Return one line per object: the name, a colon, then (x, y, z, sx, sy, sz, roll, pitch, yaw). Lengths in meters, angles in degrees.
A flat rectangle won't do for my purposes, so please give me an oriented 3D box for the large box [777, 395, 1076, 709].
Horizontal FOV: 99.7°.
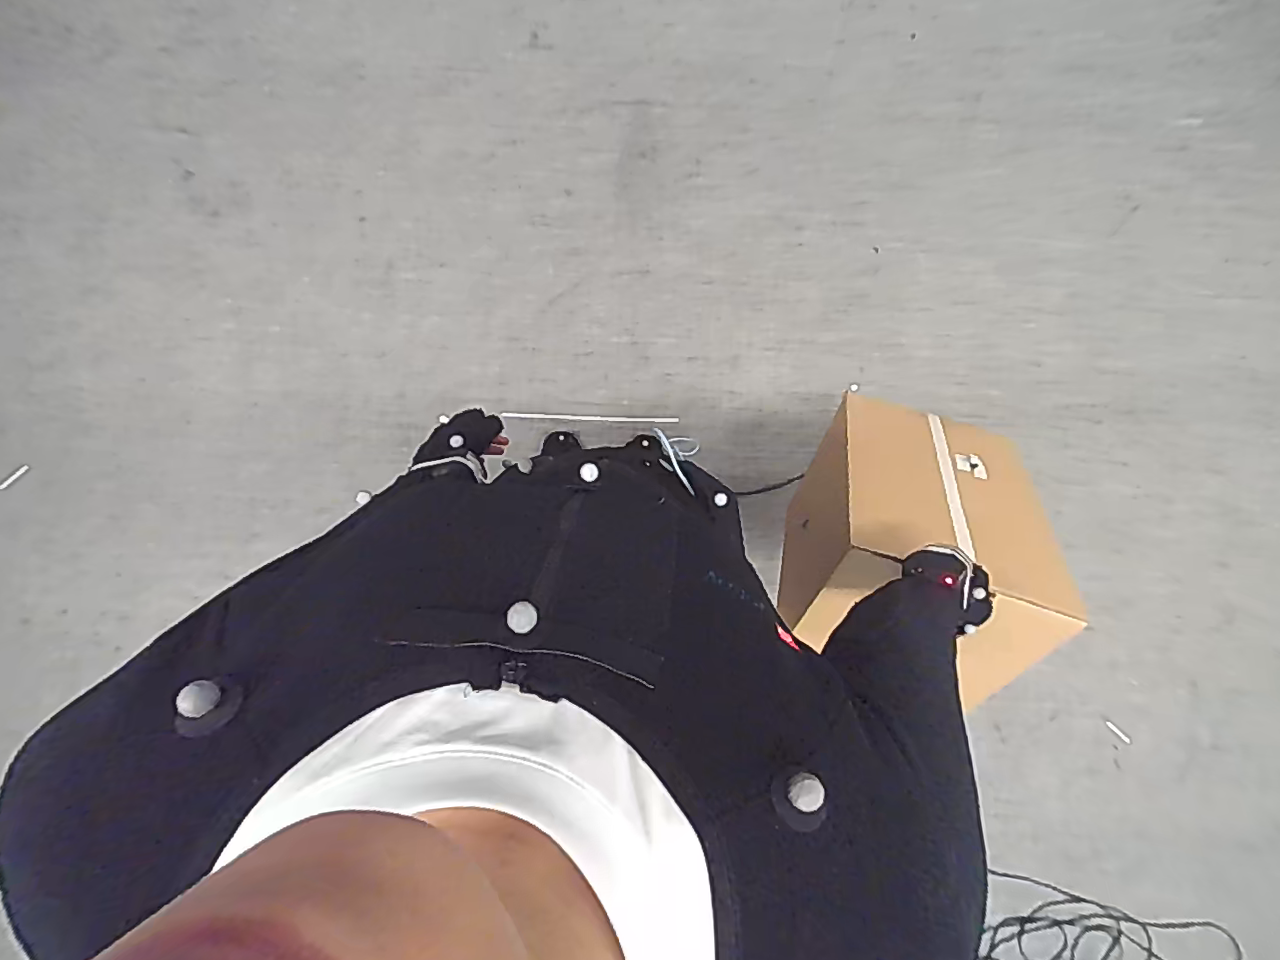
large box: (0.448, 0.114, 0.955, 0.320, 0.408, 0.320, 19, 132, 4)
